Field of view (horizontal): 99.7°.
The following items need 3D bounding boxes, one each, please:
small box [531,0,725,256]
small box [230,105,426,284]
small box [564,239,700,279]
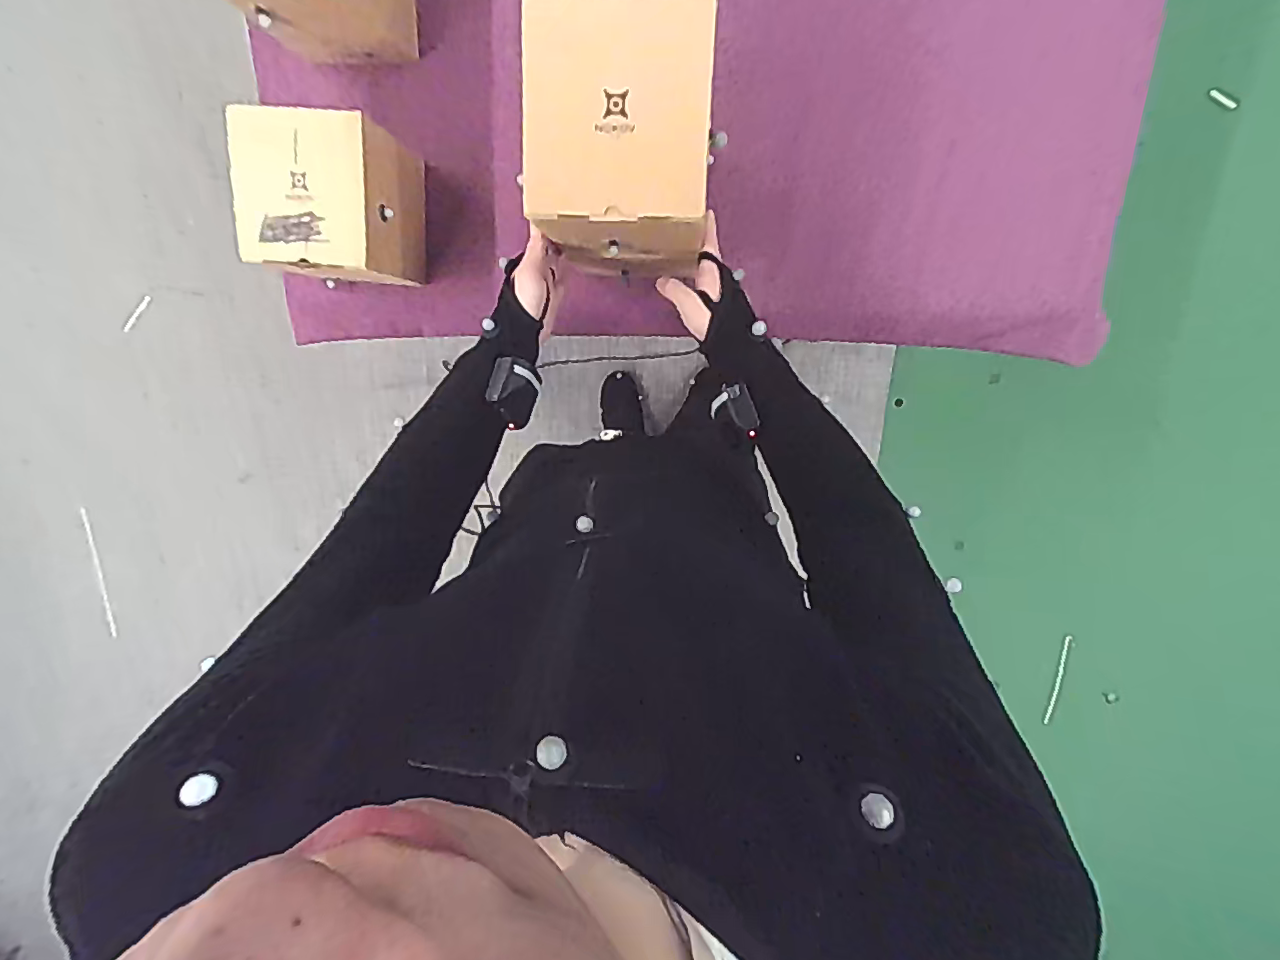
[{"bbox_3d":[-0.010,-0.336,0.546,0.168,0.176,0.179,3,104,4],"label":"small box"},{"bbox_3d":[-0.401,-0.367,0.727,0.168,0.176,0.179,5,103,2],"label":"small box"},{"bbox_3d":[-0.002,-0.369,0.705,0.168,0.176,0.179,3,104,4],"label":"small box"}]
